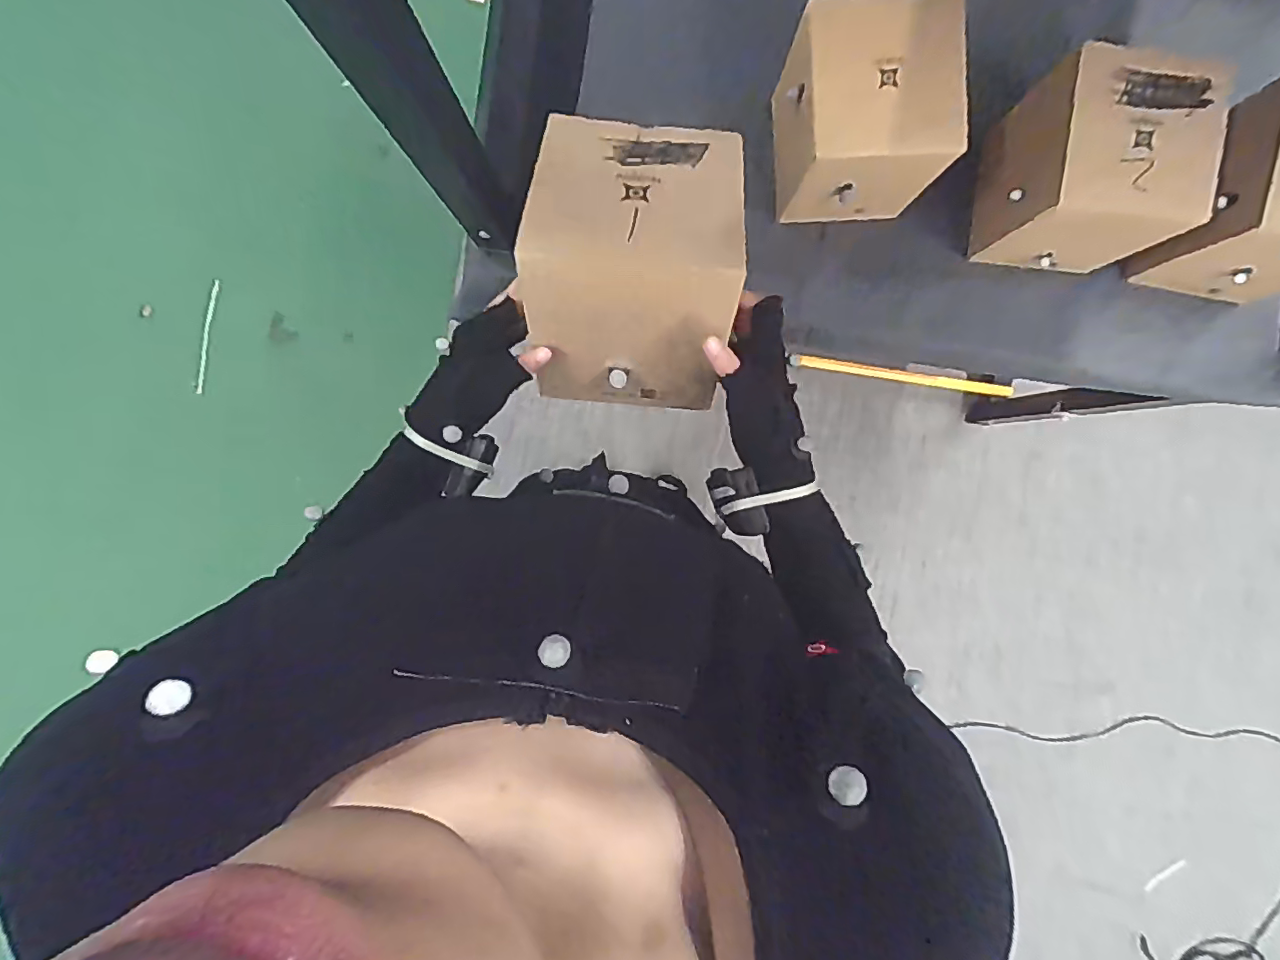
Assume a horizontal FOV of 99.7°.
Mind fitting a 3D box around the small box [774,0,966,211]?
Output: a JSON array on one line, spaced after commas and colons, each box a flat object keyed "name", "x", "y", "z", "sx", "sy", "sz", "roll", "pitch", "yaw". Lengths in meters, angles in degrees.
[{"name": "small box", "x": 0.264, "y": -0.445, "z": 0.656, "sx": 0.168, "sy": 0.176, "sz": 0.179, "roll": -2, "pitch": 92, "yaw": 1}]

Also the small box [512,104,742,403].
[{"name": "small box", "x": -0.007, "y": -0.194, "z": 0.486, "sx": 0.168, "sy": 0.176, "sz": 0.179, "roll": 5, "pitch": 62, "yaw": 0}]
